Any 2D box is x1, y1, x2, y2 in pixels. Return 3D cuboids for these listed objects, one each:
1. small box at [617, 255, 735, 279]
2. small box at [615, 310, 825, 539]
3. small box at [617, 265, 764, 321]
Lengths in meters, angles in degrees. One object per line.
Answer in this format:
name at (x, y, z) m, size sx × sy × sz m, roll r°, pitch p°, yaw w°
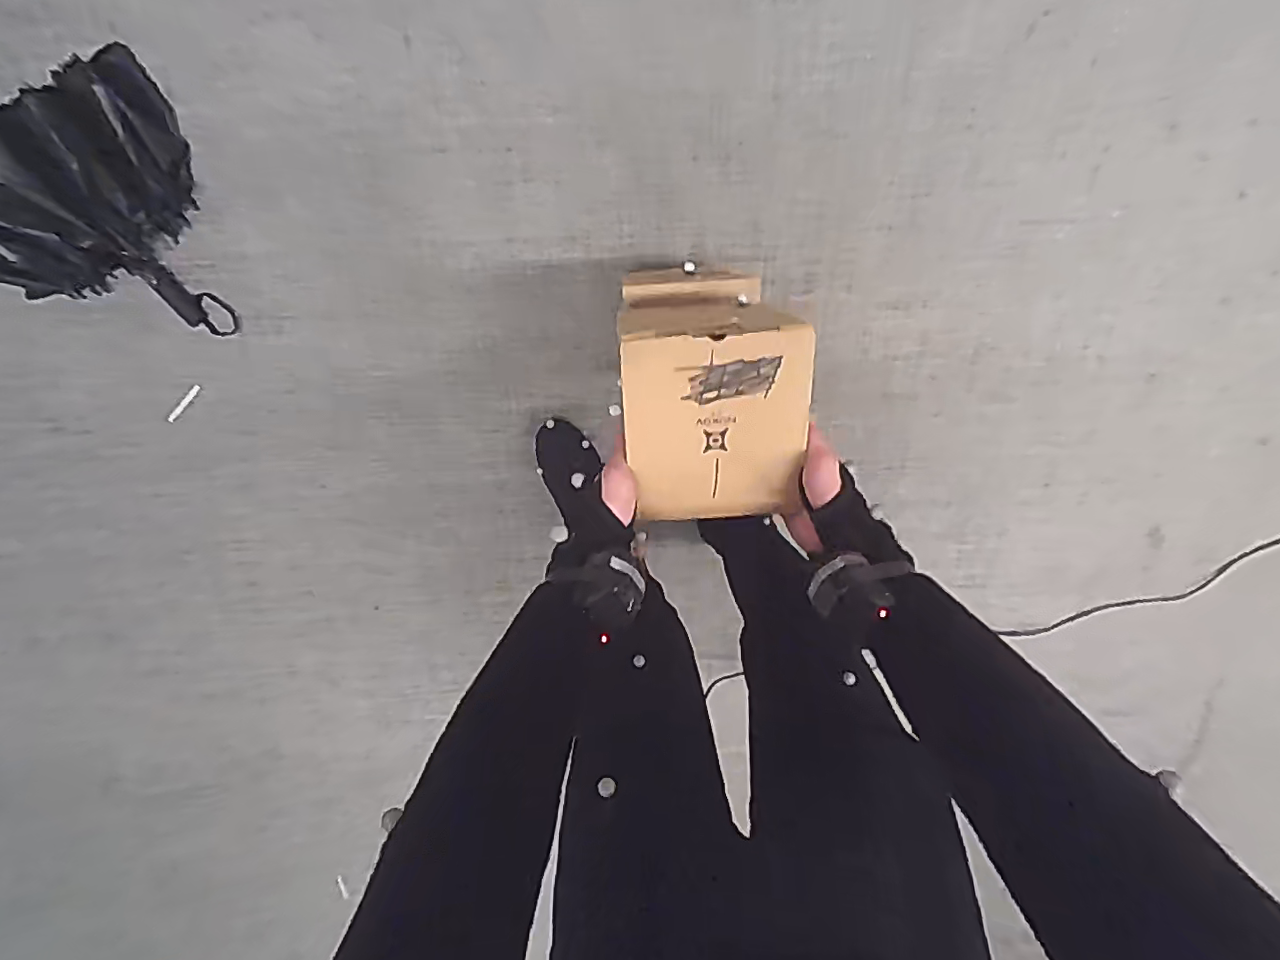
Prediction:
small box at (0.055, -0.251, 0.852) m, size 0.168 × 0.176 × 0.179 m, roll -4°, pitch 115°, yaw 1°
small box at (0.063, -0.064, 0.522) m, size 0.168 × 0.176 × 0.179 m, roll -4°, pitch 116°, yaw 0°
small box at (0.059, -0.179, 0.706) m, size 0.168 × 0.176 × 0.179 m, roll -4°, pitch 114°, yaw 0°
